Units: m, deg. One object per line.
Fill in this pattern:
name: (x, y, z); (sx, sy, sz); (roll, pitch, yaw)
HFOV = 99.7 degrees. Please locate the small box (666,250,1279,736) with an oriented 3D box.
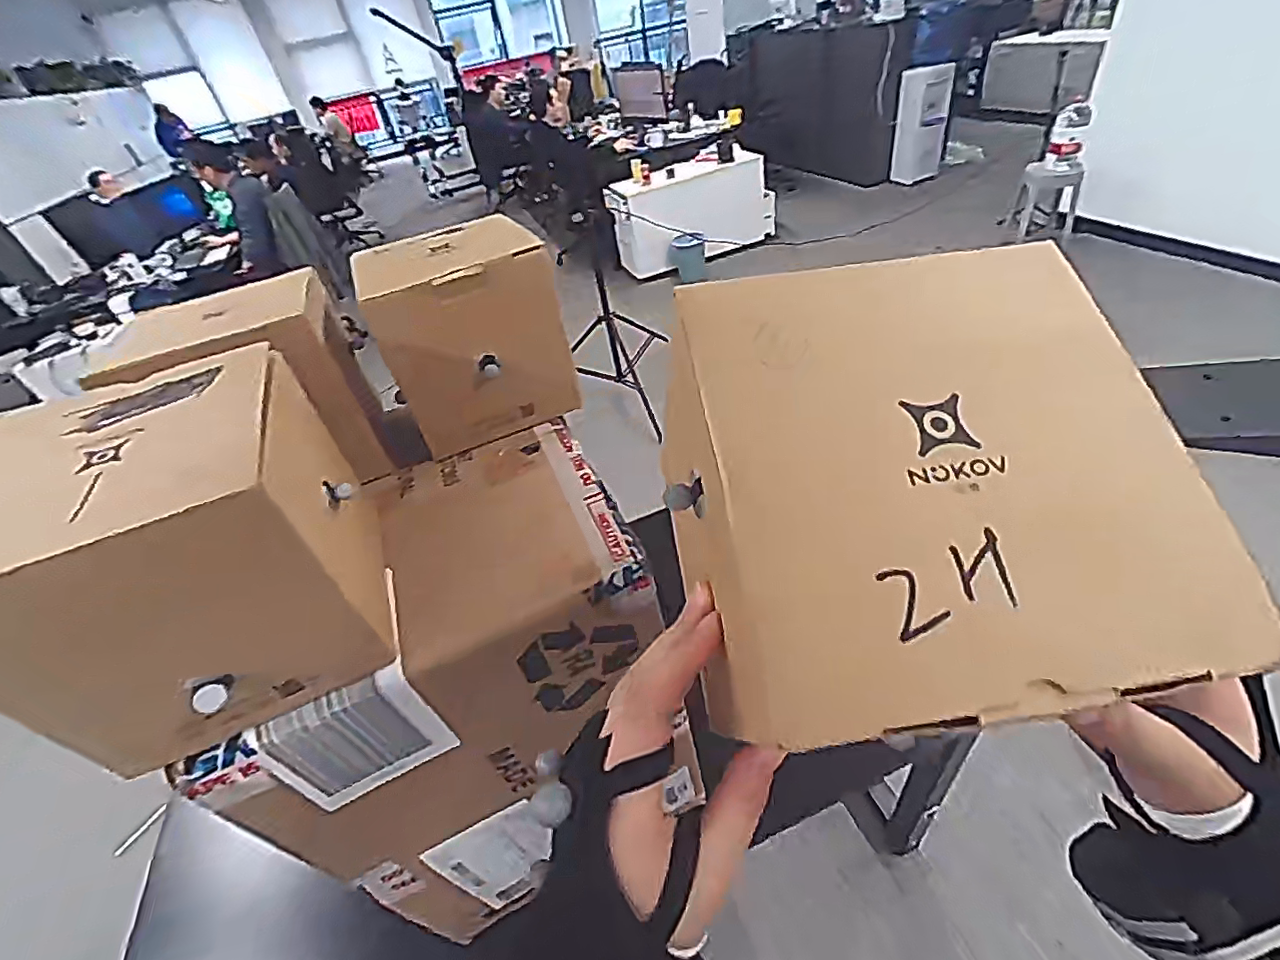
small box: (0.106, 0.020, 0.269); (0.168, 0.176, 0.179); (-8, 67, -2)
